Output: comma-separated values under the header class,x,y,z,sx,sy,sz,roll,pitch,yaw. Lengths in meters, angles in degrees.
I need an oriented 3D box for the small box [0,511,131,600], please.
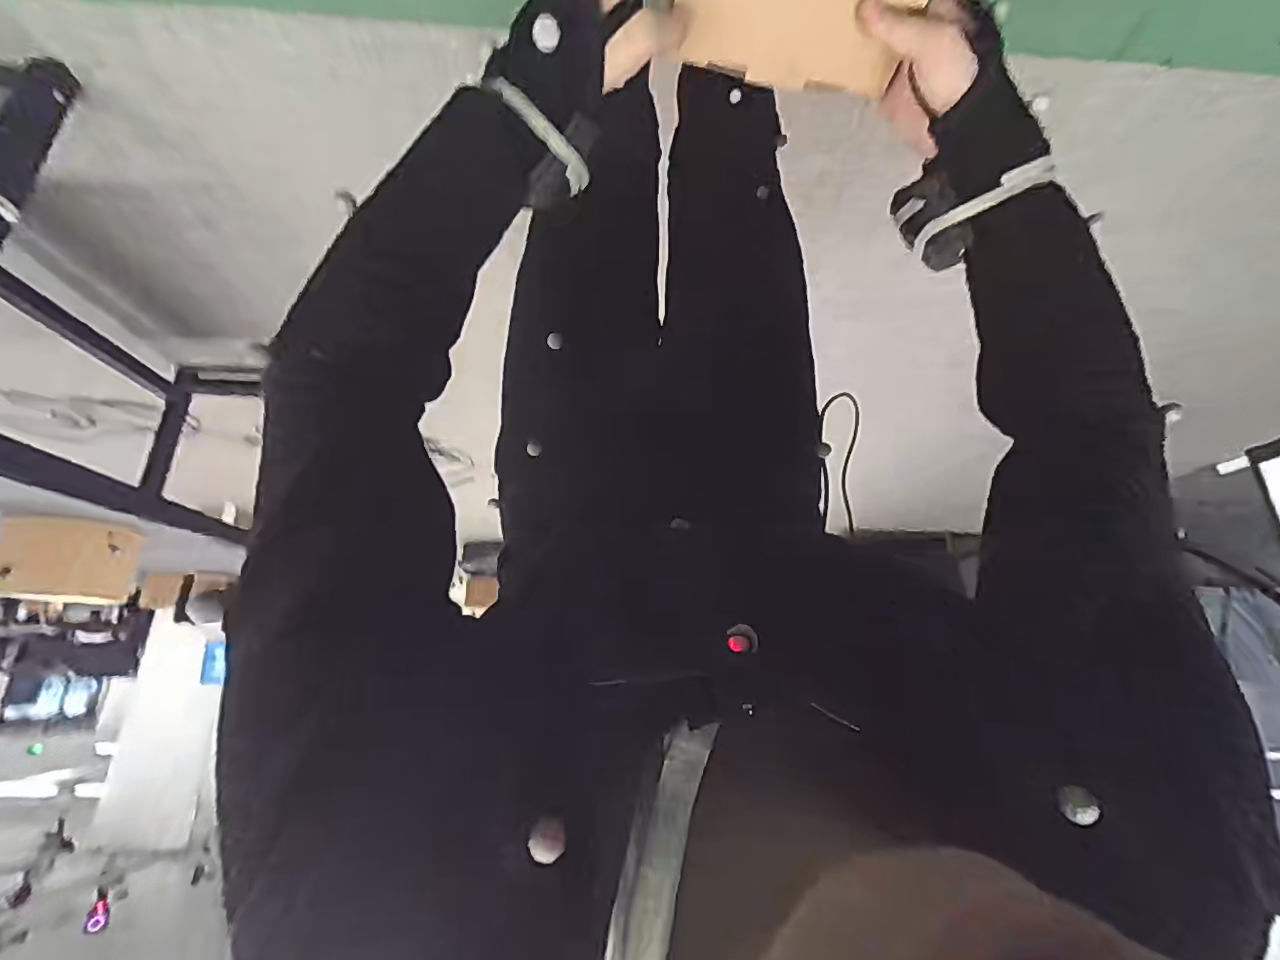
class,x,y,z,sx,sy,sz,roll,pitch,yaw
small box,-1.303,0.168,1.202,0.179,0.176,0.168,3,162,-4
